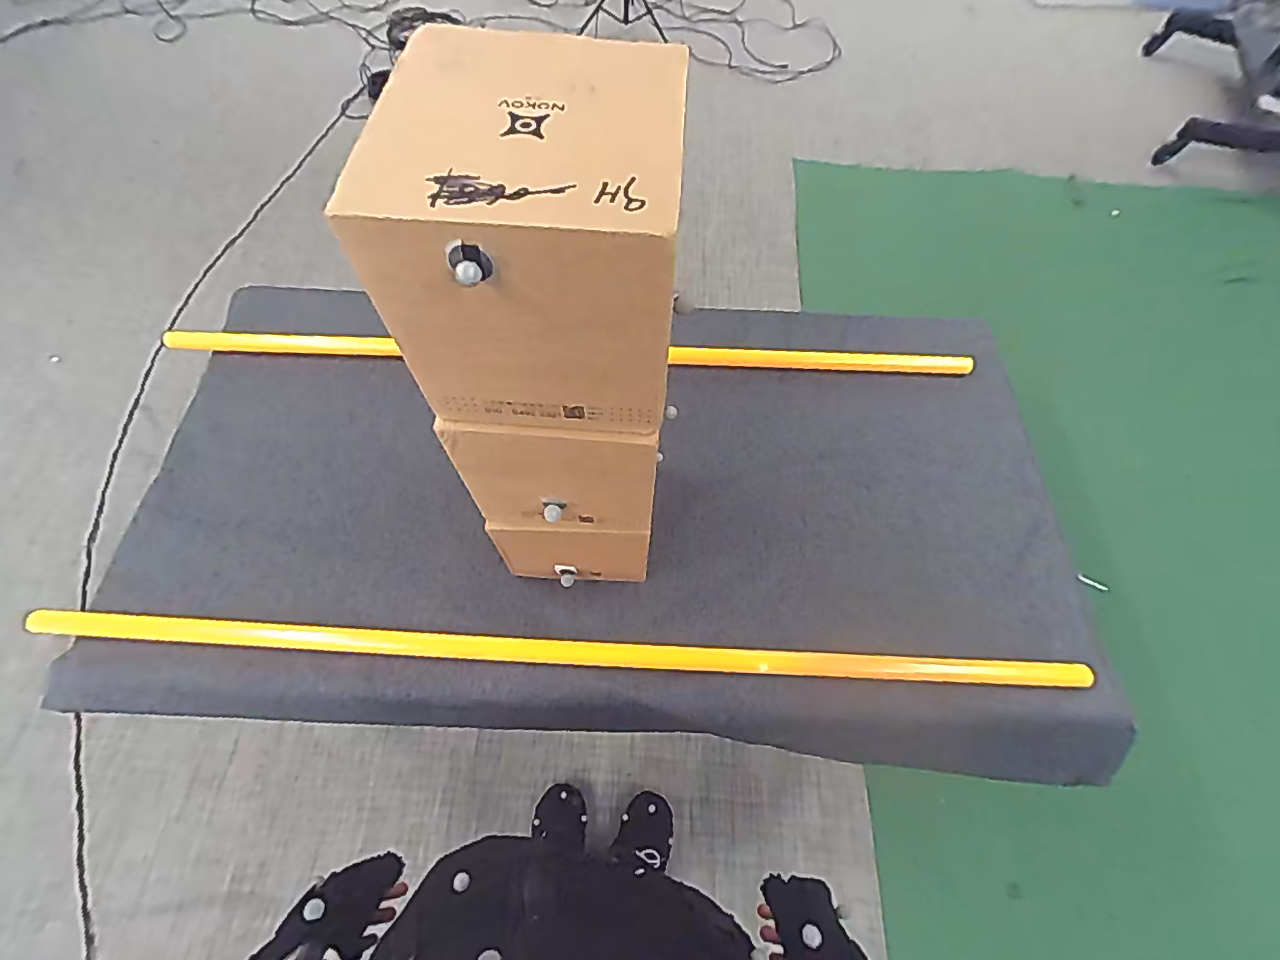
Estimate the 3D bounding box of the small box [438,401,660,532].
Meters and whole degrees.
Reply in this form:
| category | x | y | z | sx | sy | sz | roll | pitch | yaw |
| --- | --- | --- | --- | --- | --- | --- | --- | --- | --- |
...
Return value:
| category | x | y | z | sx | sy | sz | roll | pitch | yaw |
| --- | --- | --- | --- | --- | --- | --- | --- | --- | --- |
| small box | -0.064 | -0.069 | 0.505 | 0.168 | 0.176 | 0.179 | 4 | 63 | 2 |

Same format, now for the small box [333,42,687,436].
| category | x | y | z | sx | sy | sz | roll | pitch | yaw |
| --- | --- | --- | --- | --- | --- | --- | --- | --- | --- |
| small box | -0.060 | -0.152 | 0.364 | 0.168 | 0.176 | 0.179 | 4 | 61 | 2 |

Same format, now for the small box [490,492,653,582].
| category | x | y | z | sx | sy | sz | roll | pitch | yaw |
| --- | --- | --- | --- | --- | --- | --- | --- | --- | --- |
| small box | -0.069 | 0.012 | 0.649 | 0.168 | 0.176 | 0.179 | 1 | 63 | 0 |
